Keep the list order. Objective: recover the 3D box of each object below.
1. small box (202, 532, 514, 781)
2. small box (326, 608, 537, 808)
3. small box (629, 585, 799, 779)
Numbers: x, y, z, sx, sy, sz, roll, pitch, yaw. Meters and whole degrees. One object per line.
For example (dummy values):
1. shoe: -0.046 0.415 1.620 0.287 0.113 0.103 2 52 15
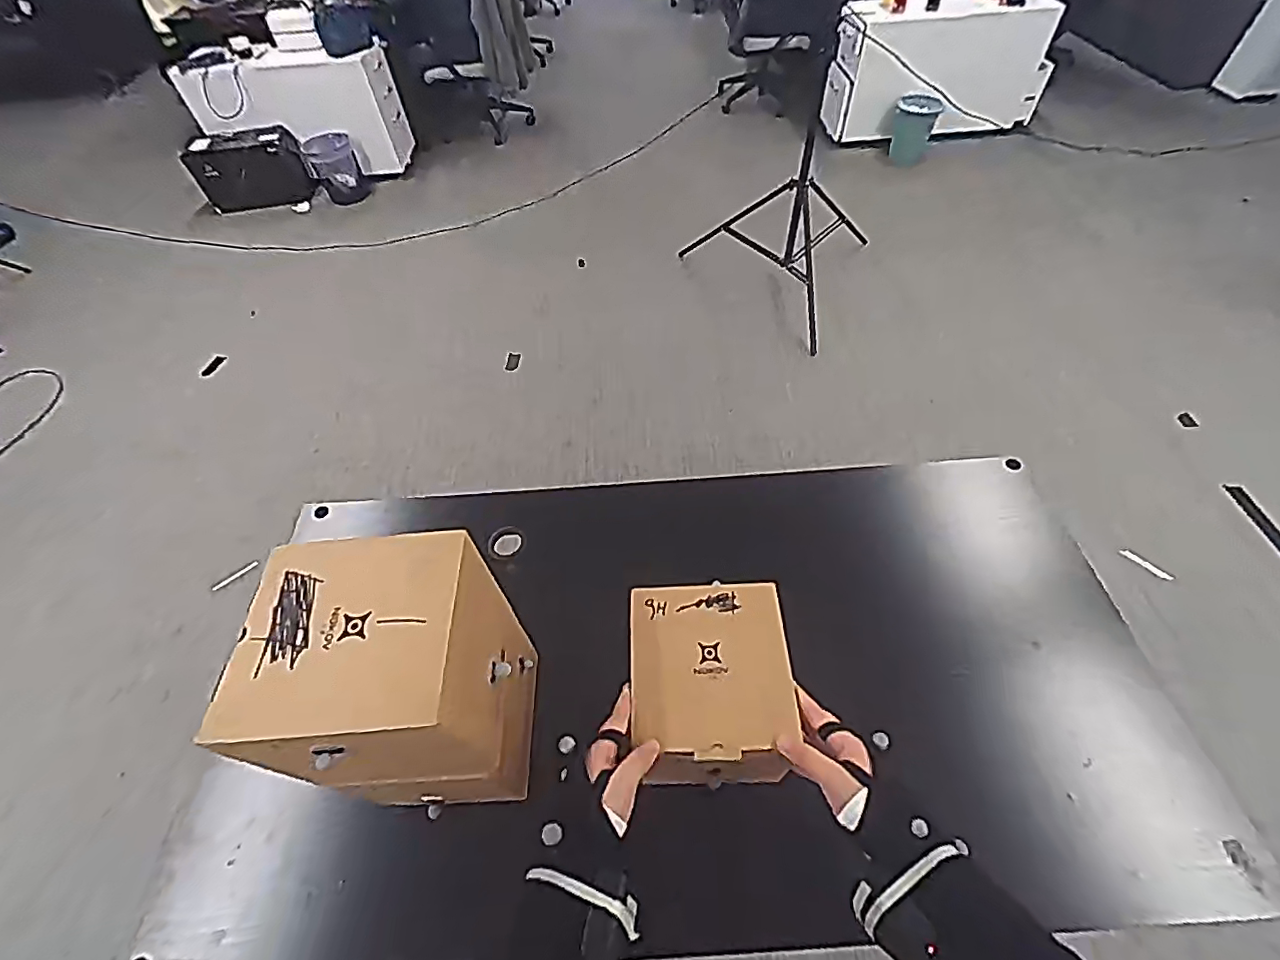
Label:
1. small box: -0.228 0.167 0.495 0.179 0.176 0.168 -5 52 0
2. small box: -0.219 0.266 0.627 0.168 0.176 0.179 -4 53 1
3. small box: 0.077 0.239 0.626 0.168 0.176 0.179 -3 53 3
